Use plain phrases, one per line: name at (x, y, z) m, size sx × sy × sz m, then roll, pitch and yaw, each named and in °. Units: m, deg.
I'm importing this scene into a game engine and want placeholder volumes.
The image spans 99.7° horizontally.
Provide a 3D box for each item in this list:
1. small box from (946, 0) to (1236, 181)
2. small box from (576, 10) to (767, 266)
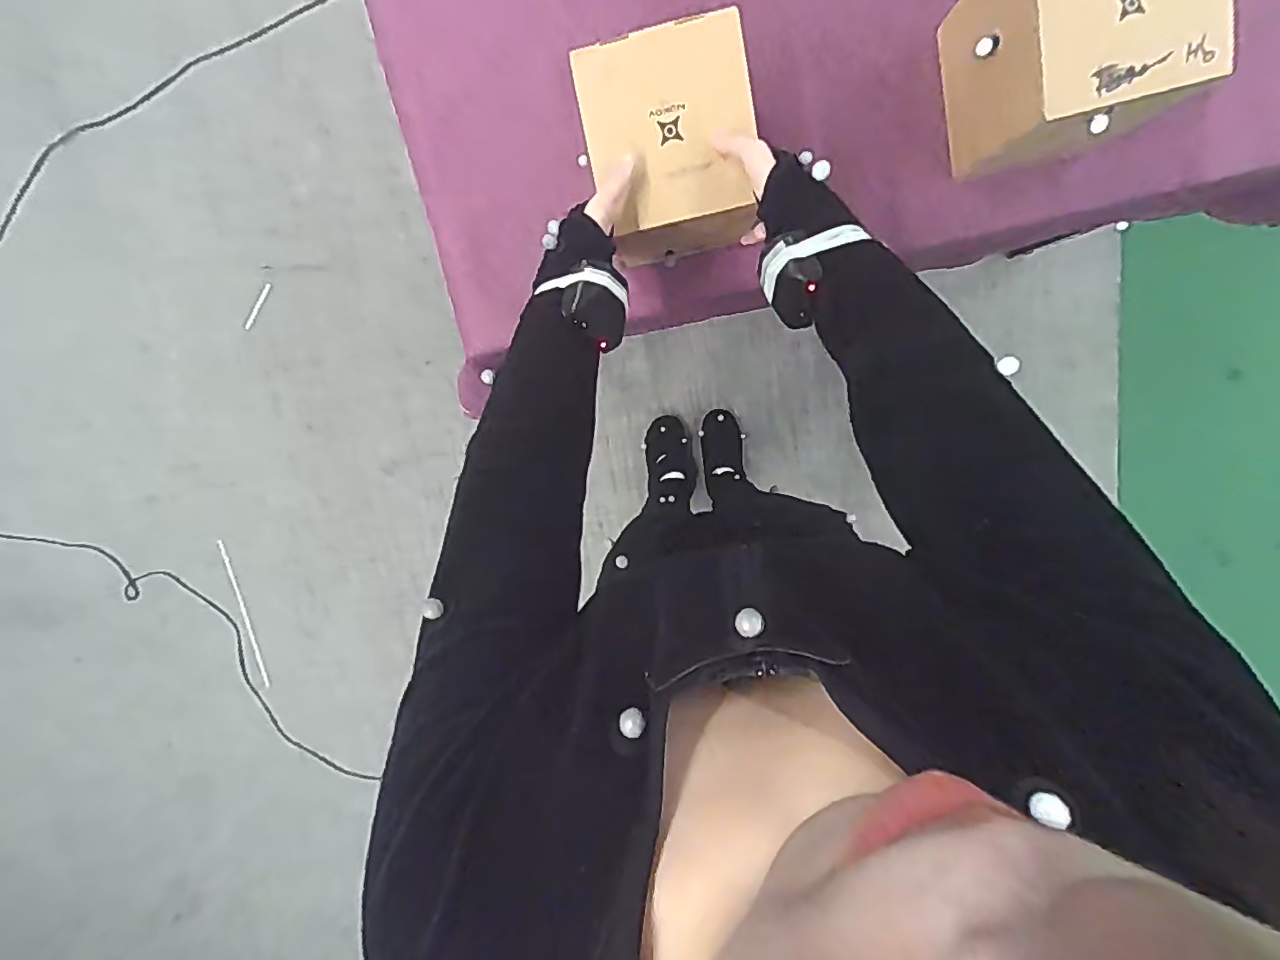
small box at (0.443, -0.447, 0.560) m, size 0.168 × 0.176 × 0.179 m, roll -11°, pitch 99°, yaw 7°
small box at (0.035, -0.359, 0.605) m, size 0.168 × 0.176 × 0.179 m, roll -10°, pitch 101°, yaw 6°
